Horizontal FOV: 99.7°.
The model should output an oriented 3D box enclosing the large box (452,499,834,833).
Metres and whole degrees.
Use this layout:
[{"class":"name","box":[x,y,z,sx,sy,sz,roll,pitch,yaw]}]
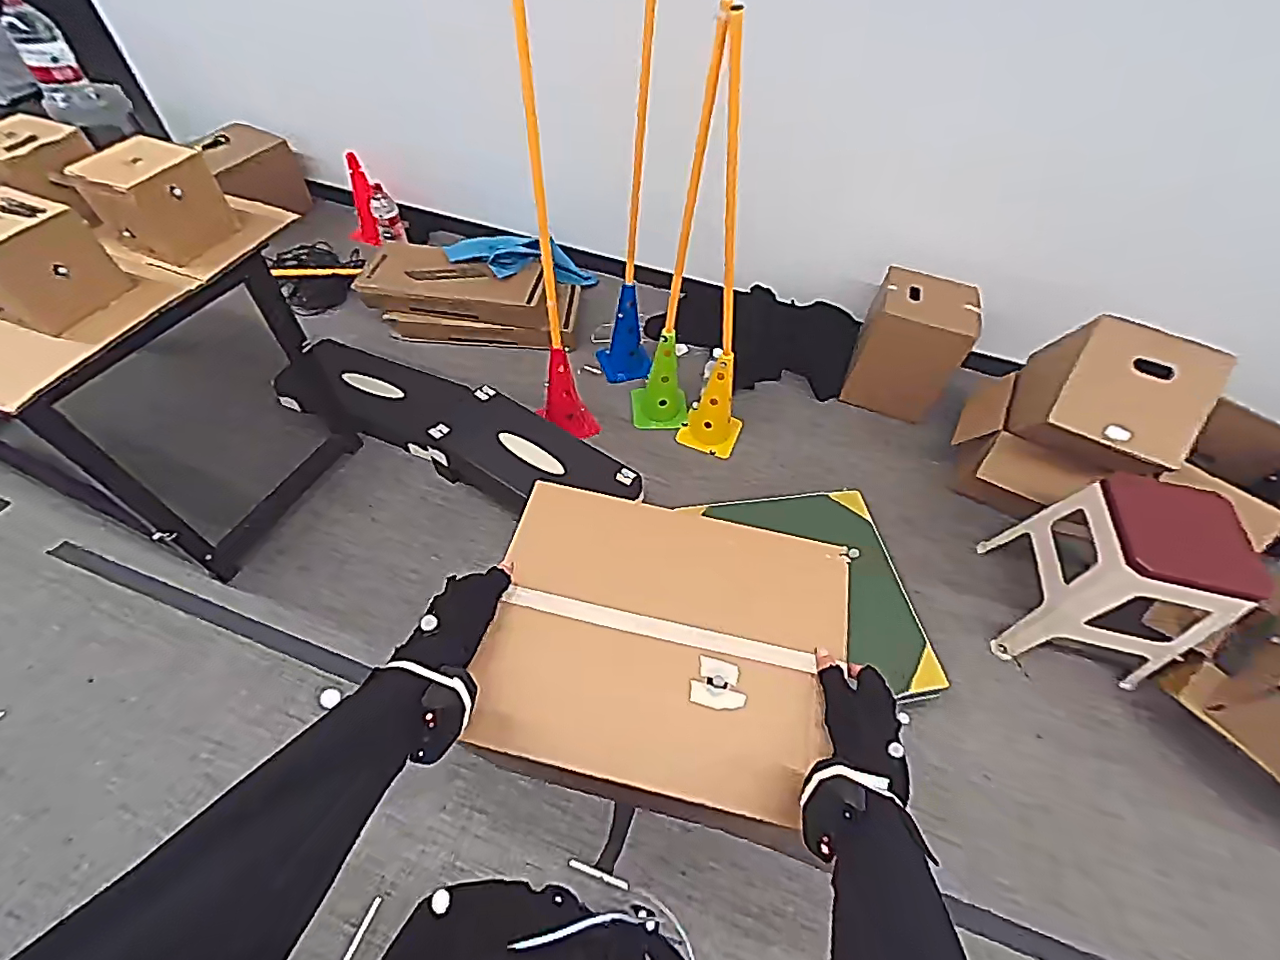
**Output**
[{"class":"large box","box":[0.015,0.266,0.750,0.408,0.320,0.320,12,57,4]}]
